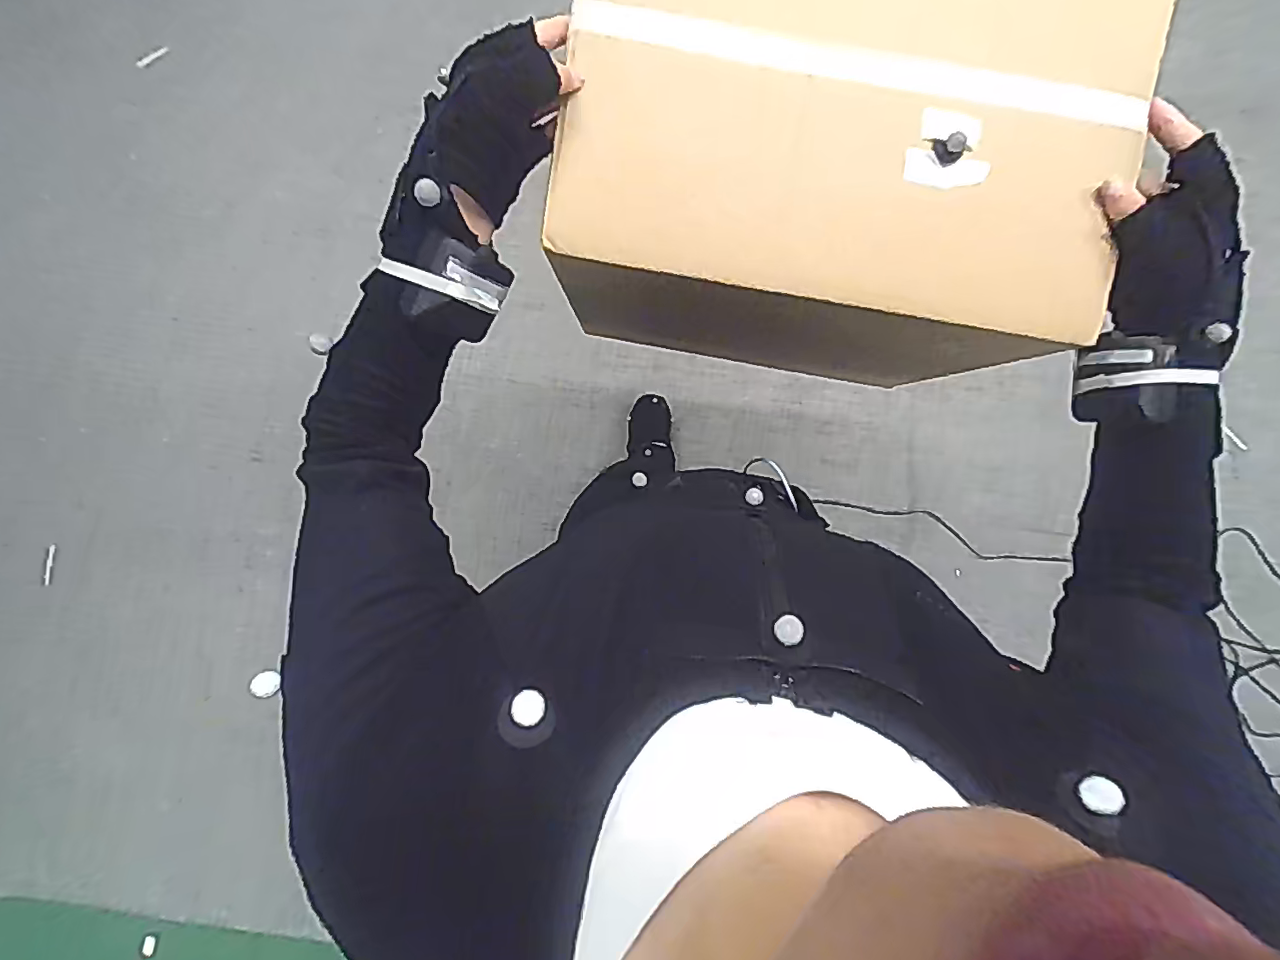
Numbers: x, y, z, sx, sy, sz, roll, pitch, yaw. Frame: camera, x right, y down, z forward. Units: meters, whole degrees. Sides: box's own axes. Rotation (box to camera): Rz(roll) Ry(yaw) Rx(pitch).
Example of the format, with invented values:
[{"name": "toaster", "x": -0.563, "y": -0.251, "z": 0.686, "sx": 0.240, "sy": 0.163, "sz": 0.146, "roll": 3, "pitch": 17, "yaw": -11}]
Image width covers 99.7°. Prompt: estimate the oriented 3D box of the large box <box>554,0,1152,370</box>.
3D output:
[{"name": "large box", "x": 0.151, "y": -0.307, "z": 0.533, "sx": 0.408, "sy": 0.320, "sz": 0.320, "roll": 9, "pitch": 95, "yaw": -1}]
